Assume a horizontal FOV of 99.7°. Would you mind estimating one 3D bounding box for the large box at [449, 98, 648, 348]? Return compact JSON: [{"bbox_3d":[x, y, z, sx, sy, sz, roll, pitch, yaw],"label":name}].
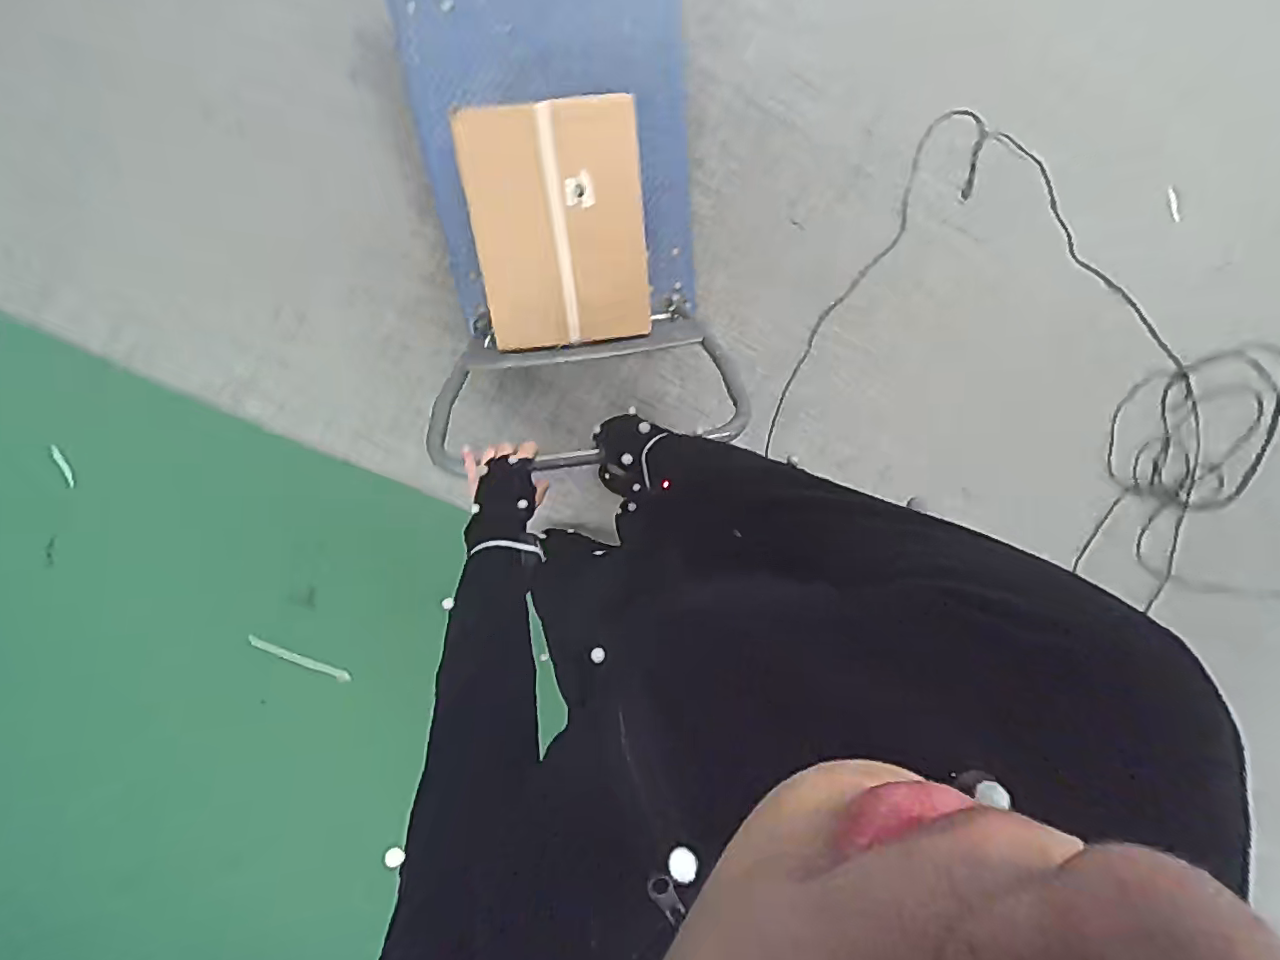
[{"bbox_3d":[-0.166,-0.522,1.144,0.320,0.320,0.408,-7,115,-3],"label":"large box"}]
